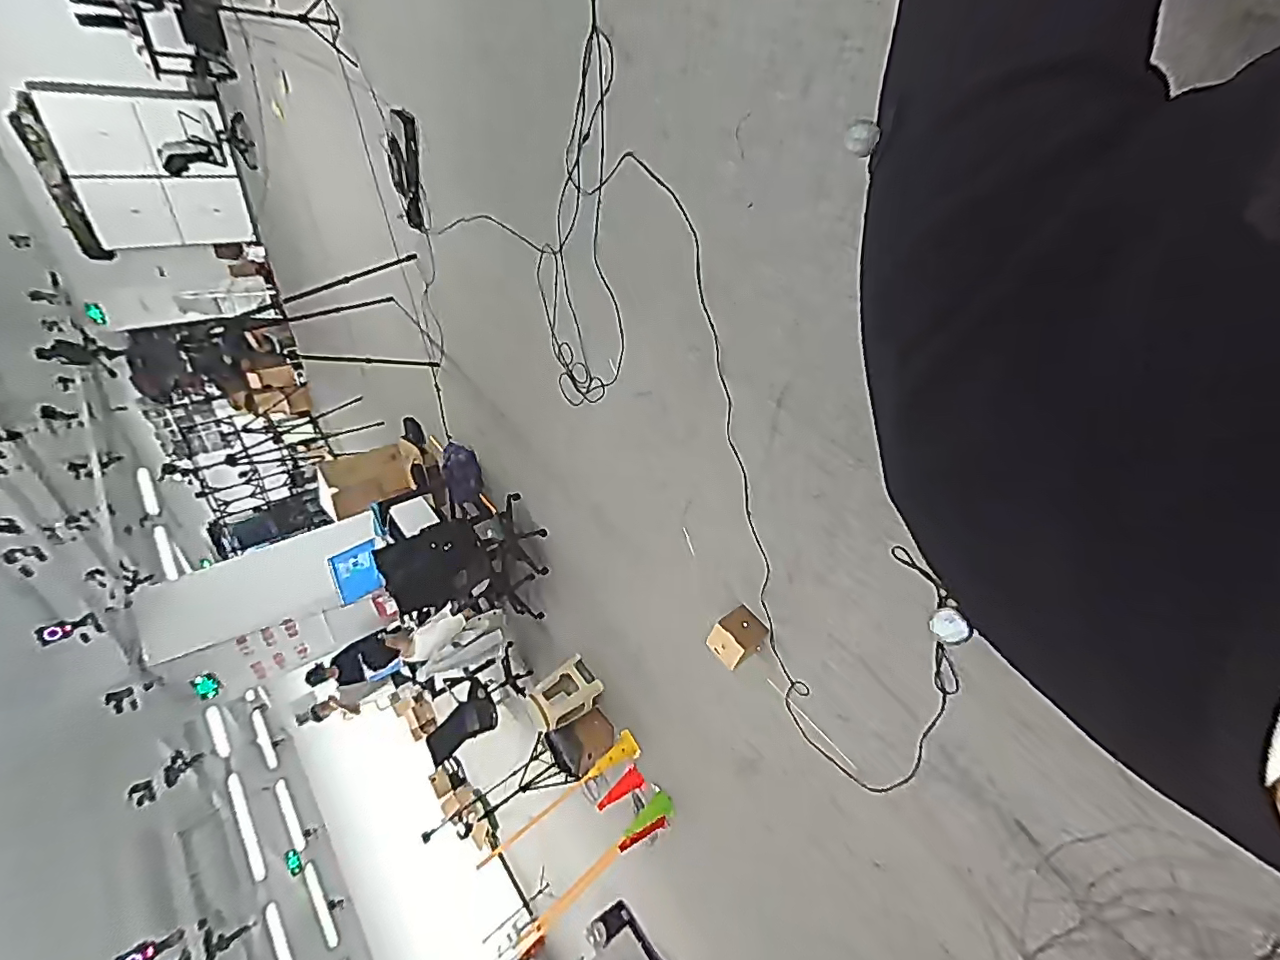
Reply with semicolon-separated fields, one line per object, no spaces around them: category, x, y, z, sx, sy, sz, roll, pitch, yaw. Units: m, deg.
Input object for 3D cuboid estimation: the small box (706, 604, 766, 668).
small box;0.422;0.671;2.344;0.168;0.176;0.179;45;139;28
